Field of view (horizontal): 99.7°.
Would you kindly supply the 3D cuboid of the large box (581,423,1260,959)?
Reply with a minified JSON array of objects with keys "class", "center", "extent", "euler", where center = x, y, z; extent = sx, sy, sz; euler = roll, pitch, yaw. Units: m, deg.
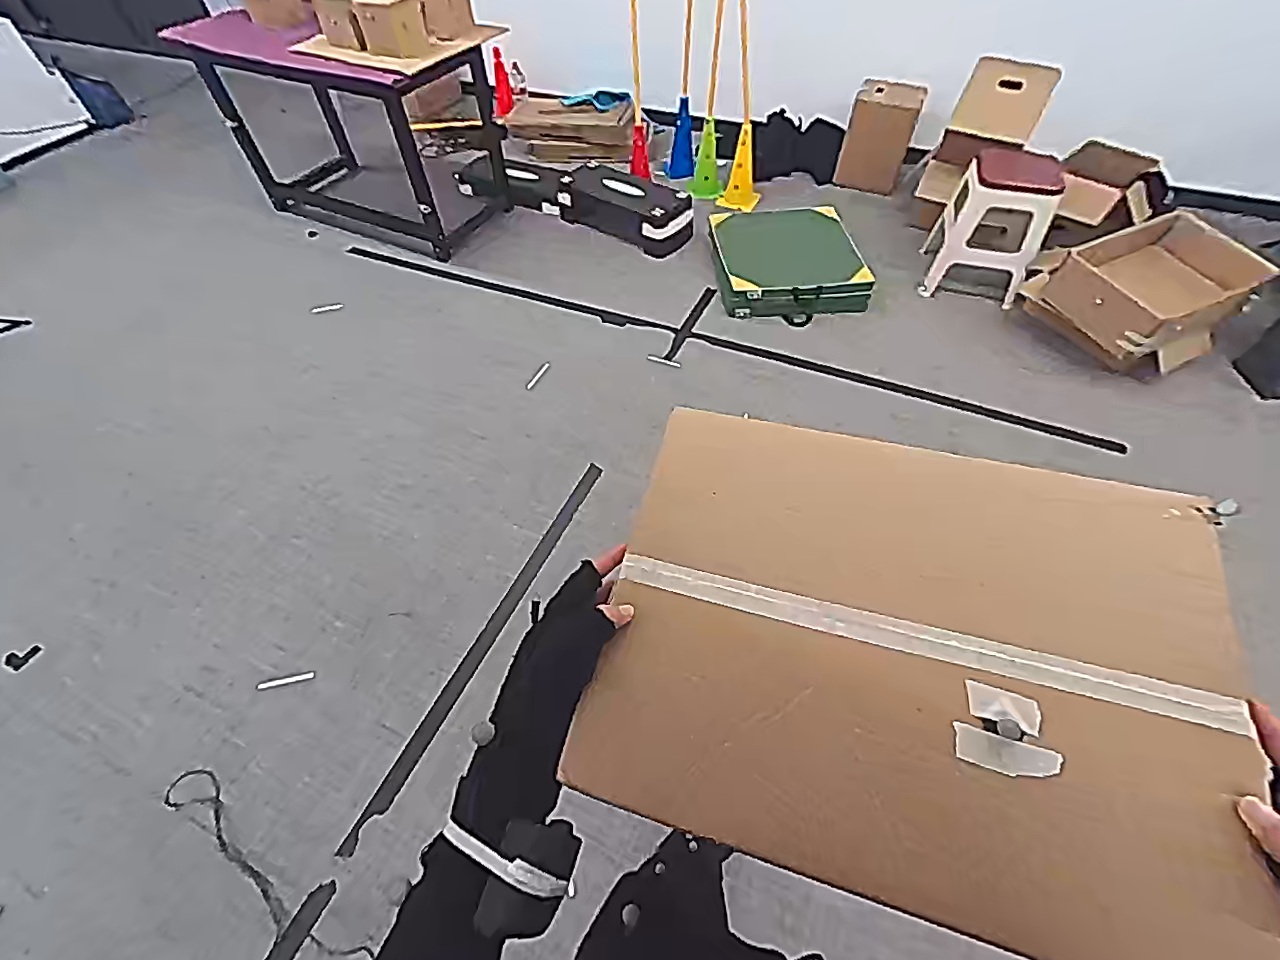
[{"class":"large box","center":[0.203,0.183,0.526],"extent":[0.408,0.320,0.320],"euler":[12,65,14]}]
